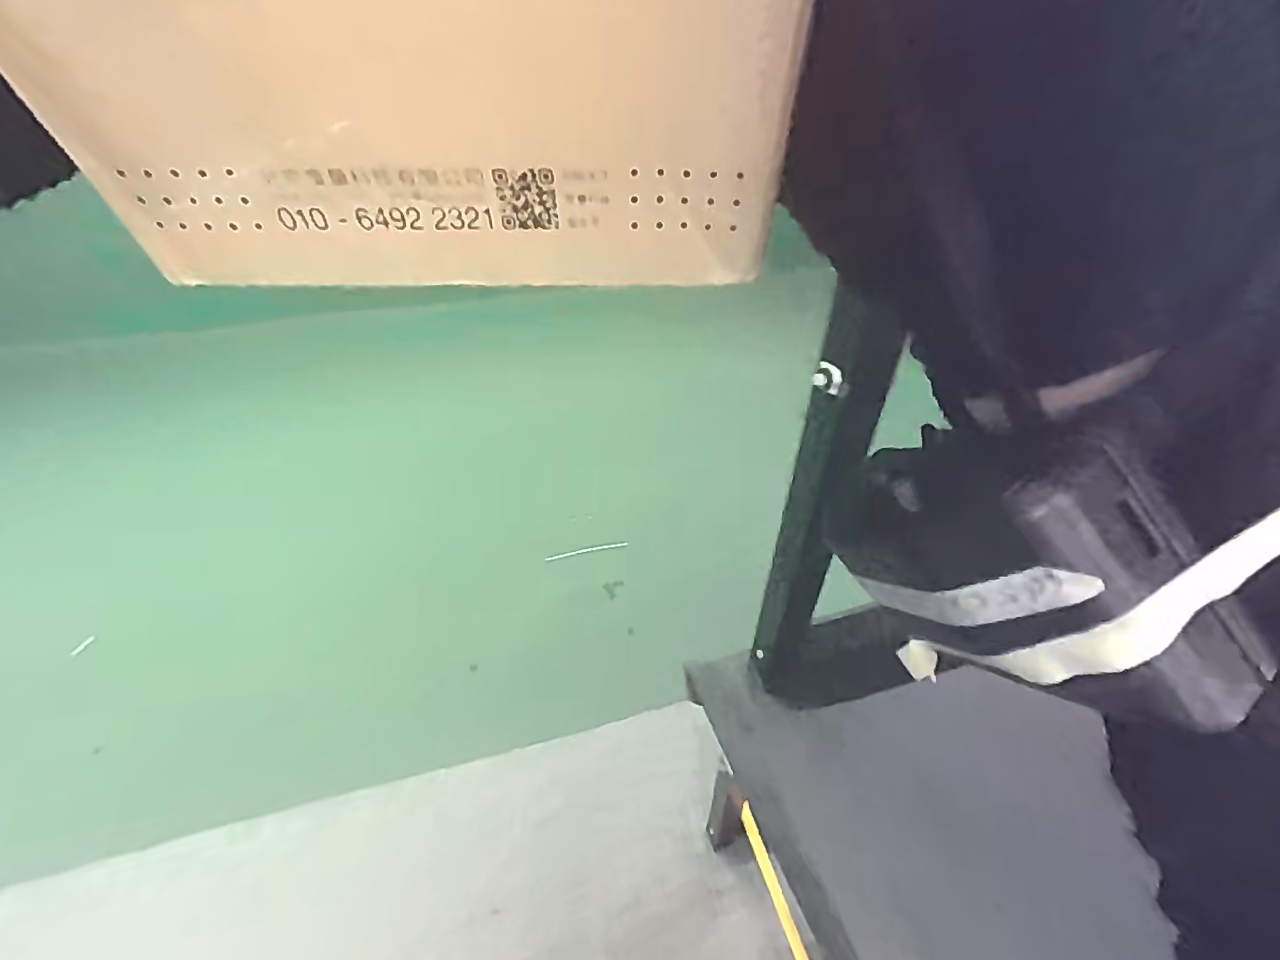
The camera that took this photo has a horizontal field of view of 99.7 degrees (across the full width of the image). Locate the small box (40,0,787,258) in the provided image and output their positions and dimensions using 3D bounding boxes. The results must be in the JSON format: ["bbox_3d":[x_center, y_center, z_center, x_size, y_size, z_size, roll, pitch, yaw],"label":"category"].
[{"bbox_3d":[-0.049,-0.178,0.144,0.168,0.176,0.179,-1,53,-1],"label":"small box"}]
